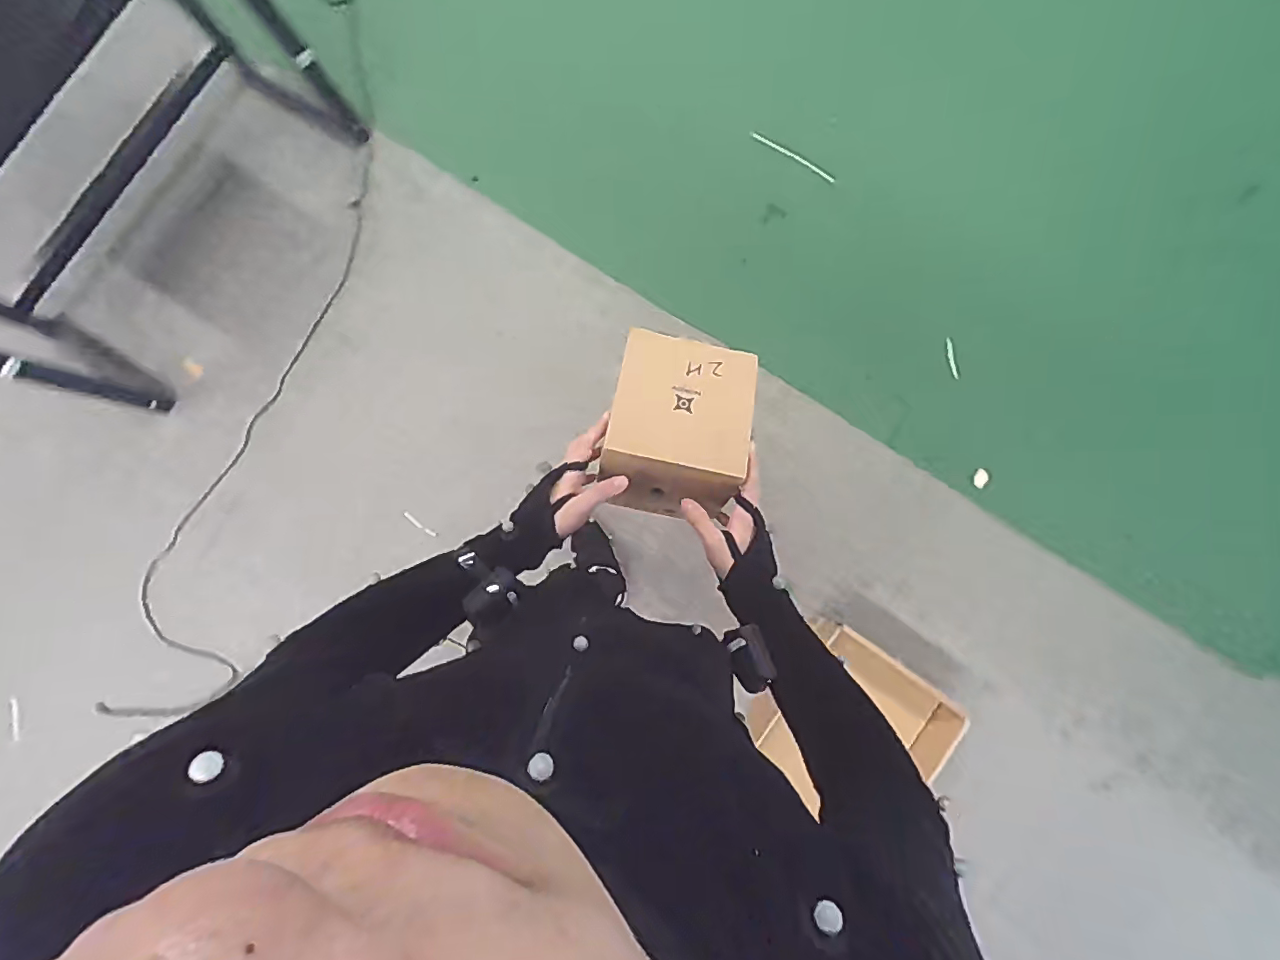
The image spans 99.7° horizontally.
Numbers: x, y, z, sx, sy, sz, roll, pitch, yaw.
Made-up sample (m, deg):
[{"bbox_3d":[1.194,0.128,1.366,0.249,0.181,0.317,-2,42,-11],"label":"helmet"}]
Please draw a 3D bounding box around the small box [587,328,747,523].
[{"bbox_3d":[0.028,-0.060,0.699,0.168,0.176,0.179,12,64,-4],"label":"small box"}]
